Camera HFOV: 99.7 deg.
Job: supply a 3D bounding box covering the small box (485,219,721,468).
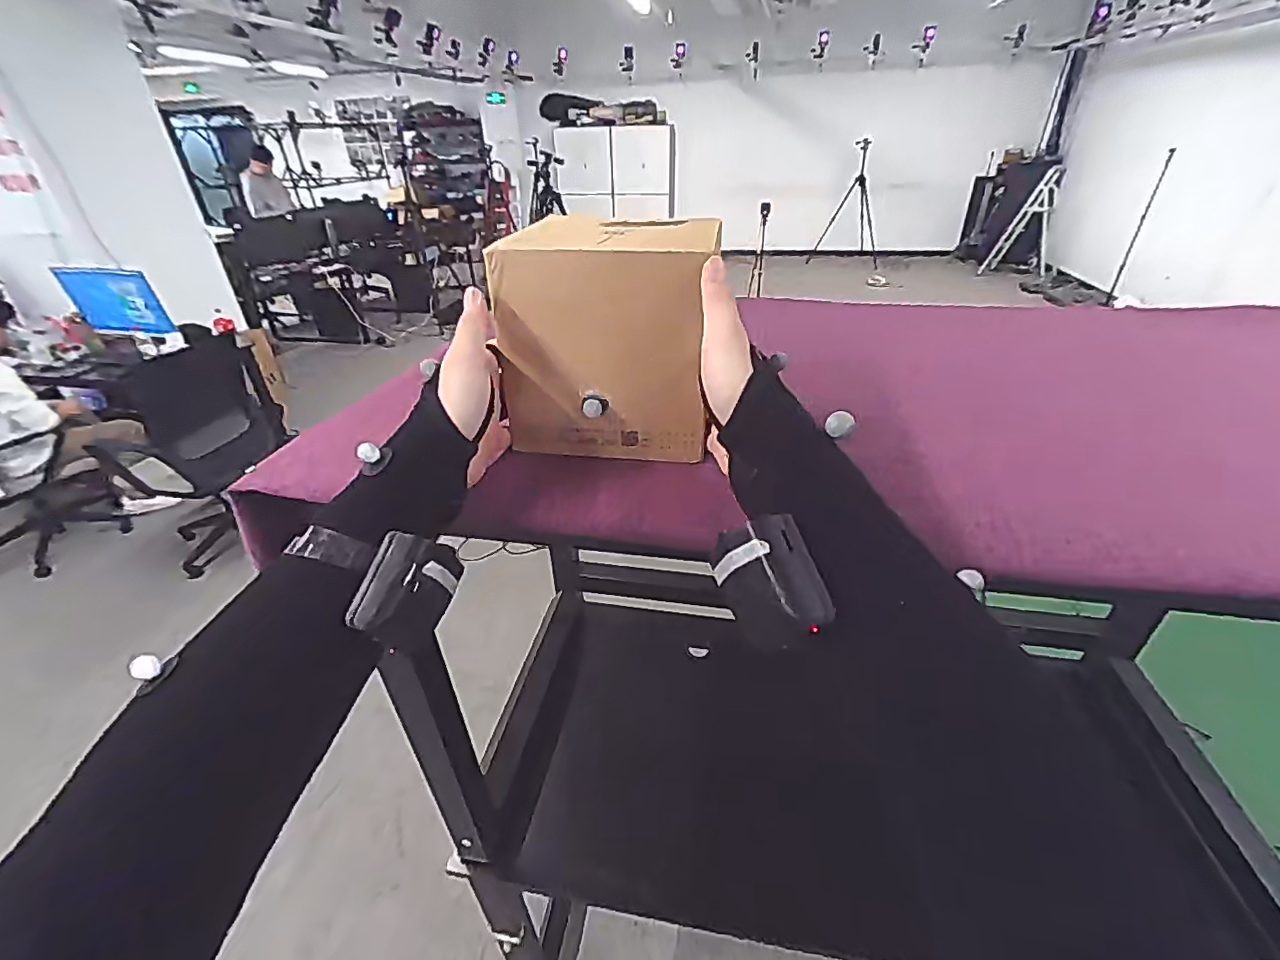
[{"bbox_3d":[-0.019,-0.130,0.485,0.168,0.176,0.179,4,33,8],"label":"small box"}]
